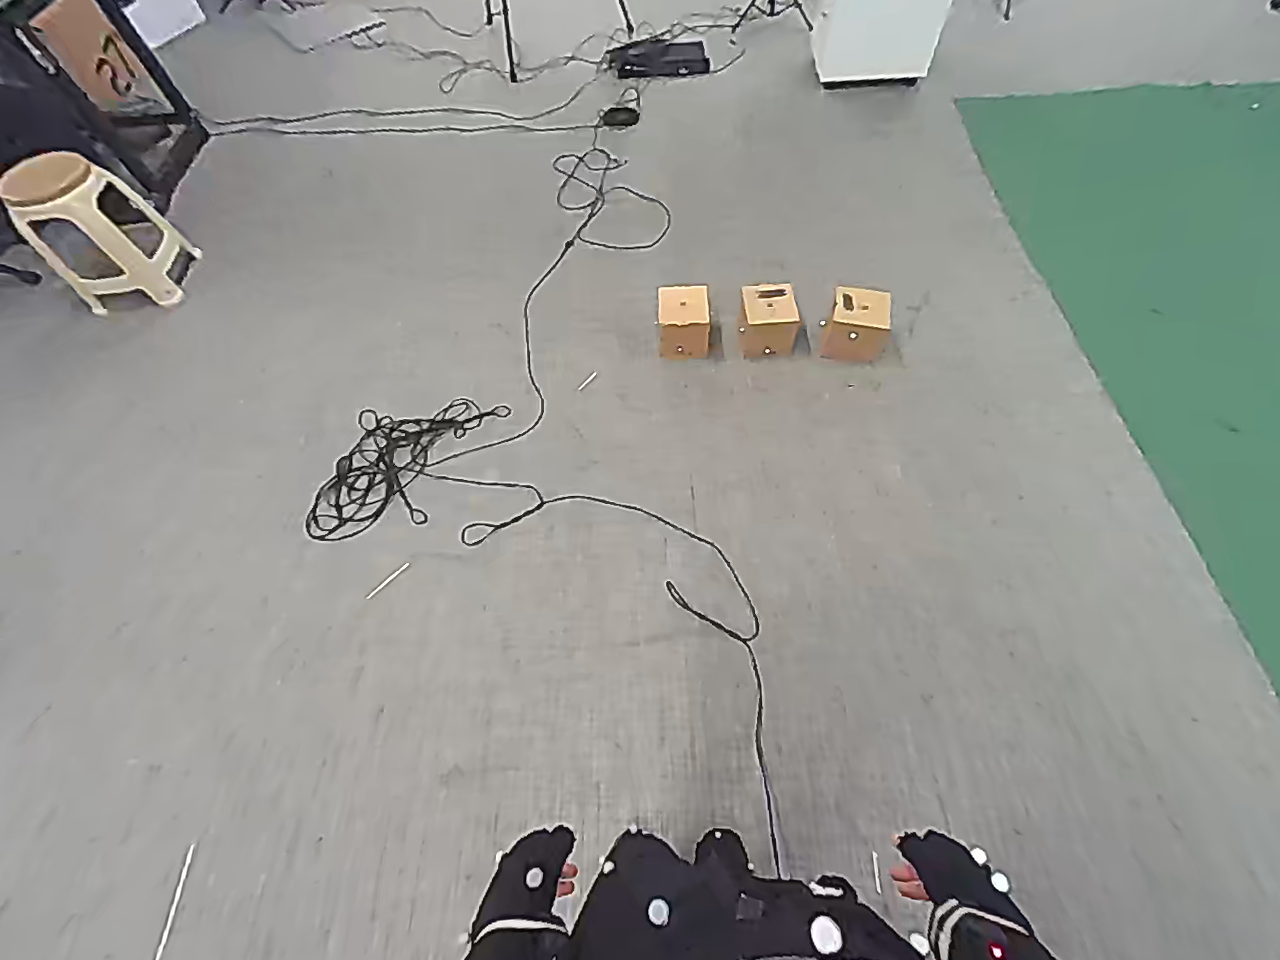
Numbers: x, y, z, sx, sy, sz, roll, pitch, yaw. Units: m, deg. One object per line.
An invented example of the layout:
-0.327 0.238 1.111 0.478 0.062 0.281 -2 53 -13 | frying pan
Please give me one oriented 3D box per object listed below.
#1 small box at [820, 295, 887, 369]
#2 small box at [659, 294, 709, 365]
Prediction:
0.715 -0.495 1.822 0.179 0.176 0.168 11 61 9 | small box
0.147 -0.519 1.875 0.168 0.176 0.179 -2 60 3 | small box
